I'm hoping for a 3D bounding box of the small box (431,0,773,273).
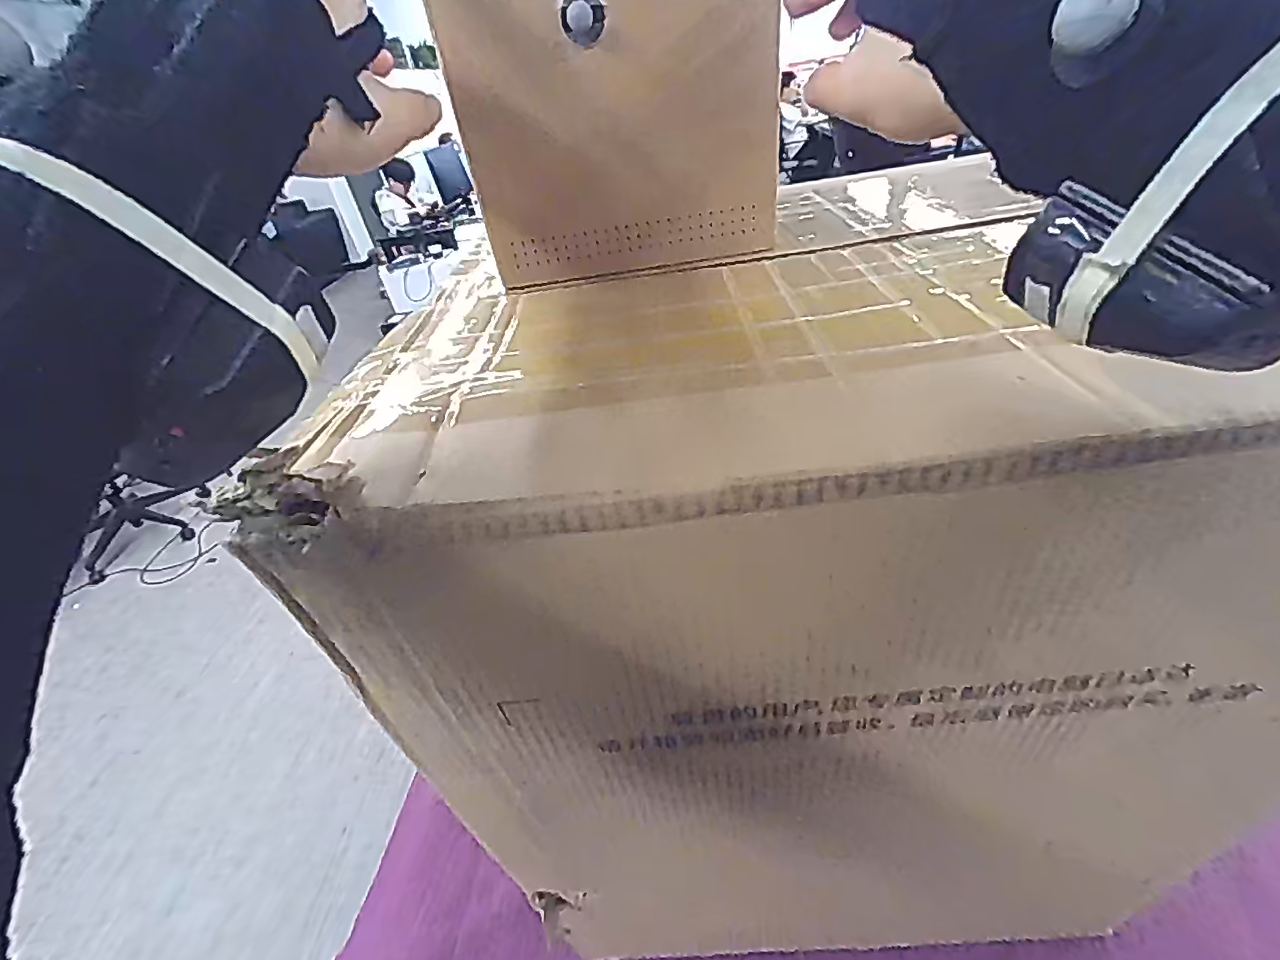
[{"bbox_3d":[-0.015,-0.245,0.352,0.179,0.176,0.168,-7,37,2],"label":"small box"}]
